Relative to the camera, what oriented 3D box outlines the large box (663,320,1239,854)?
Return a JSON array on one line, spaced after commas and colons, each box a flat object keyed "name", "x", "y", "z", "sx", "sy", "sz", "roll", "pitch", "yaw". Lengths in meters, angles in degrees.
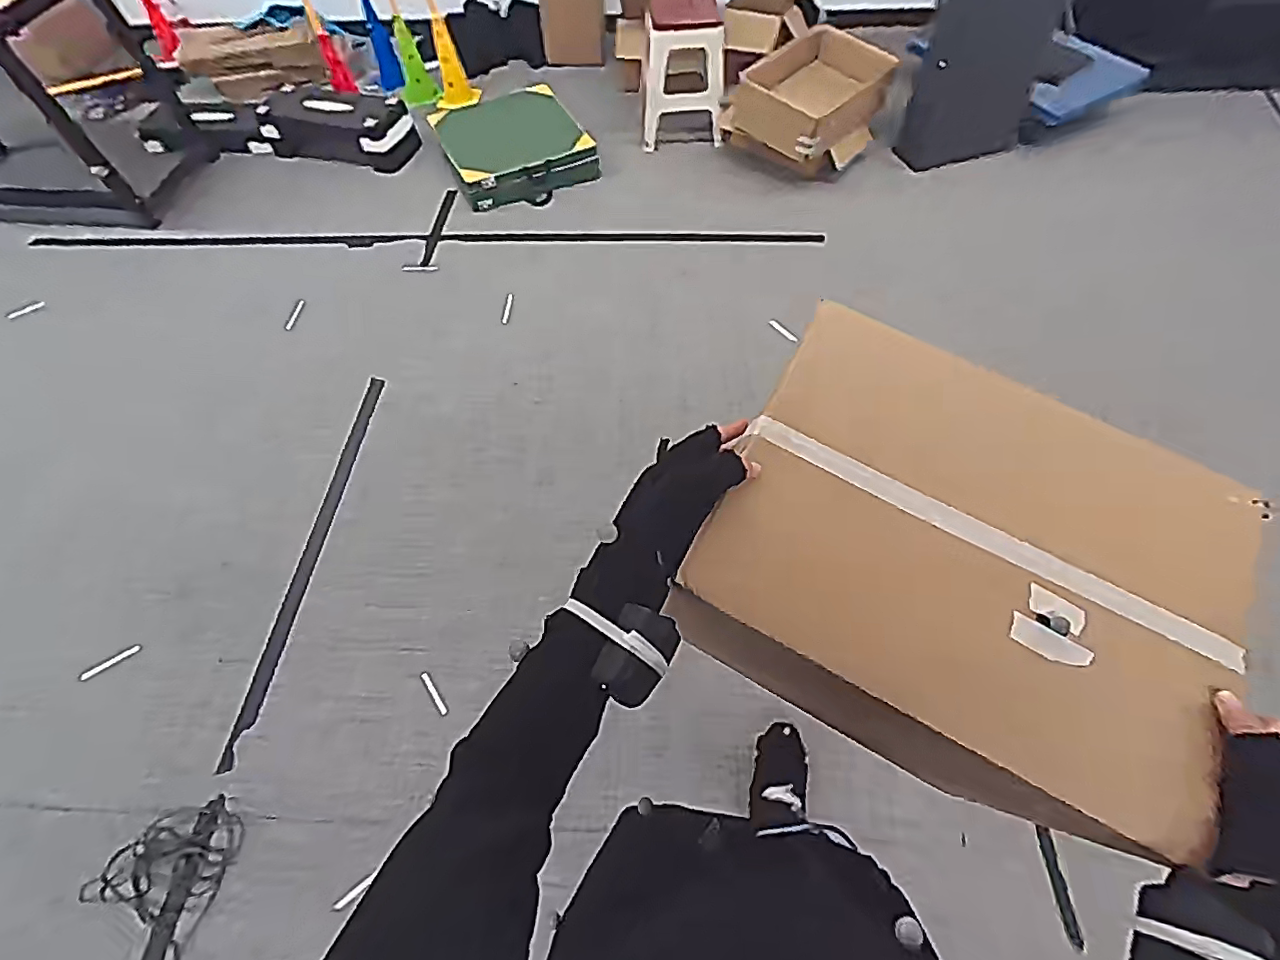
[{"name": "large box", "x": 0.276, "y": 0.104, "z": 0.594, "sx": 0.408, "sy": 0.320, "sz": 0.320, "roll": 28, "pitch": 72, "yaw": 8}]
